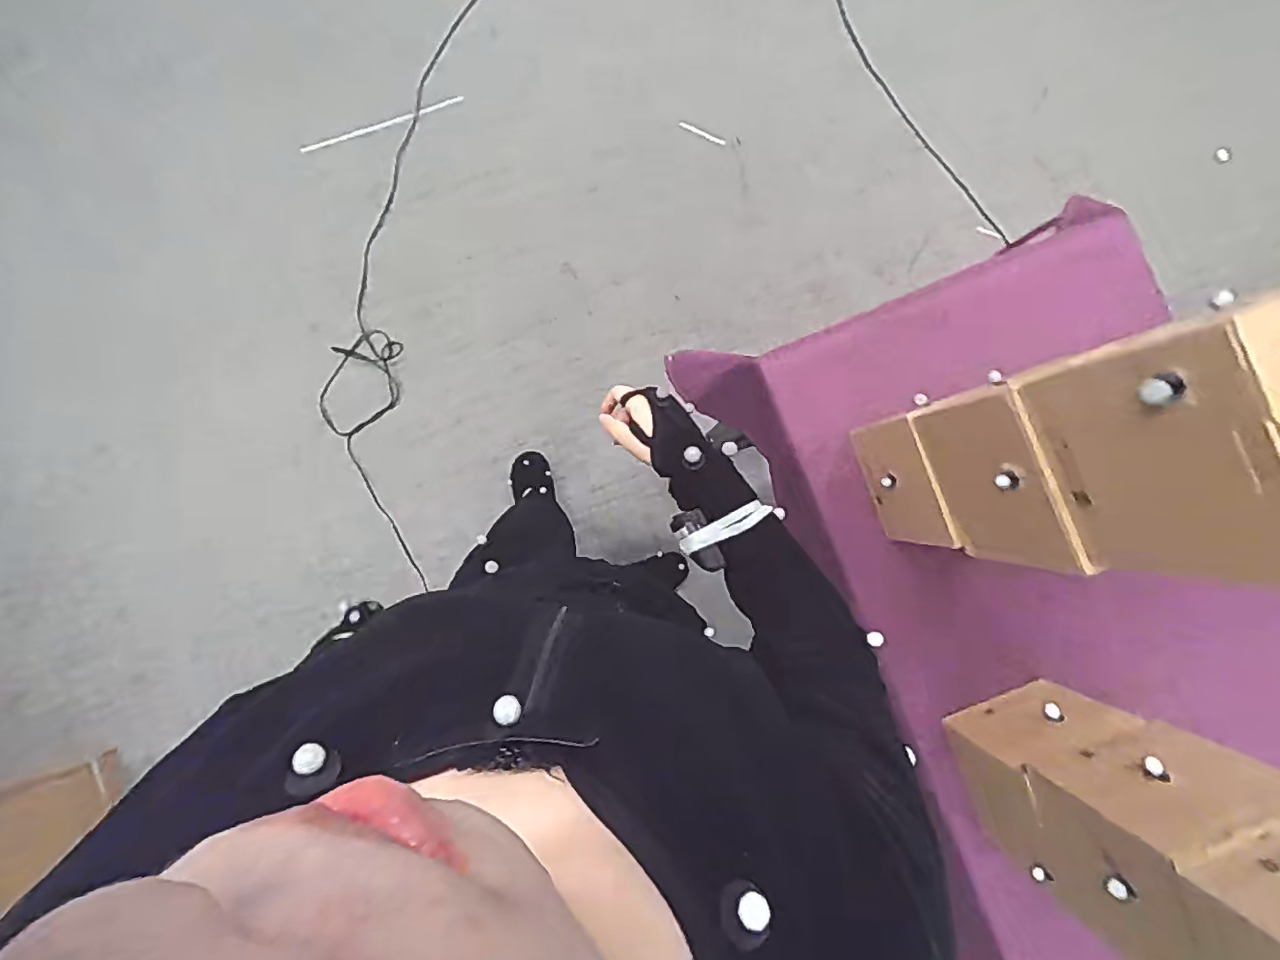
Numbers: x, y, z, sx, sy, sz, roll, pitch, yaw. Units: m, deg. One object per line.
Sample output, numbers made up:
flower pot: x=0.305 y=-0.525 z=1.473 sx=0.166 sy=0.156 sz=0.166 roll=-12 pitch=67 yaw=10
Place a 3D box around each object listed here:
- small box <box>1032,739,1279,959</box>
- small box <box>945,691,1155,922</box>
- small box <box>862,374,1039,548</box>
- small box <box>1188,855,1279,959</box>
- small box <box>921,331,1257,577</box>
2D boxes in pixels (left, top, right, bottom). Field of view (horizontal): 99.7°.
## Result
small box: x=0.534 y=0.379 z=0.528 sx=0.168 sy=0.176 sz=0.179 roll=-16 pitch=88 yaw=-2
small box: x=0.533 y=0.393 z=0.692 sx=0.168 sy=0.176 sz=0.179 roll=-20 pitch=89 yaw=-2
small box: x=0.414 y=-0.018 z=0.704 sx=0.179 sy=0.176 sz=0.168 roll=-19 pitch=89 yaw=-2
small box: x=0.539 y=0.381 z=0.363 sx=0.168 sy=0.176 sz=0.179 roll=-16 pitch=89 yaw=-2
small box: x=0.420 y=-0.020 z=0.541 sx=0.168 sy=0.176 sz=0.179 roll=-20 pitch=89 yaw=-1
